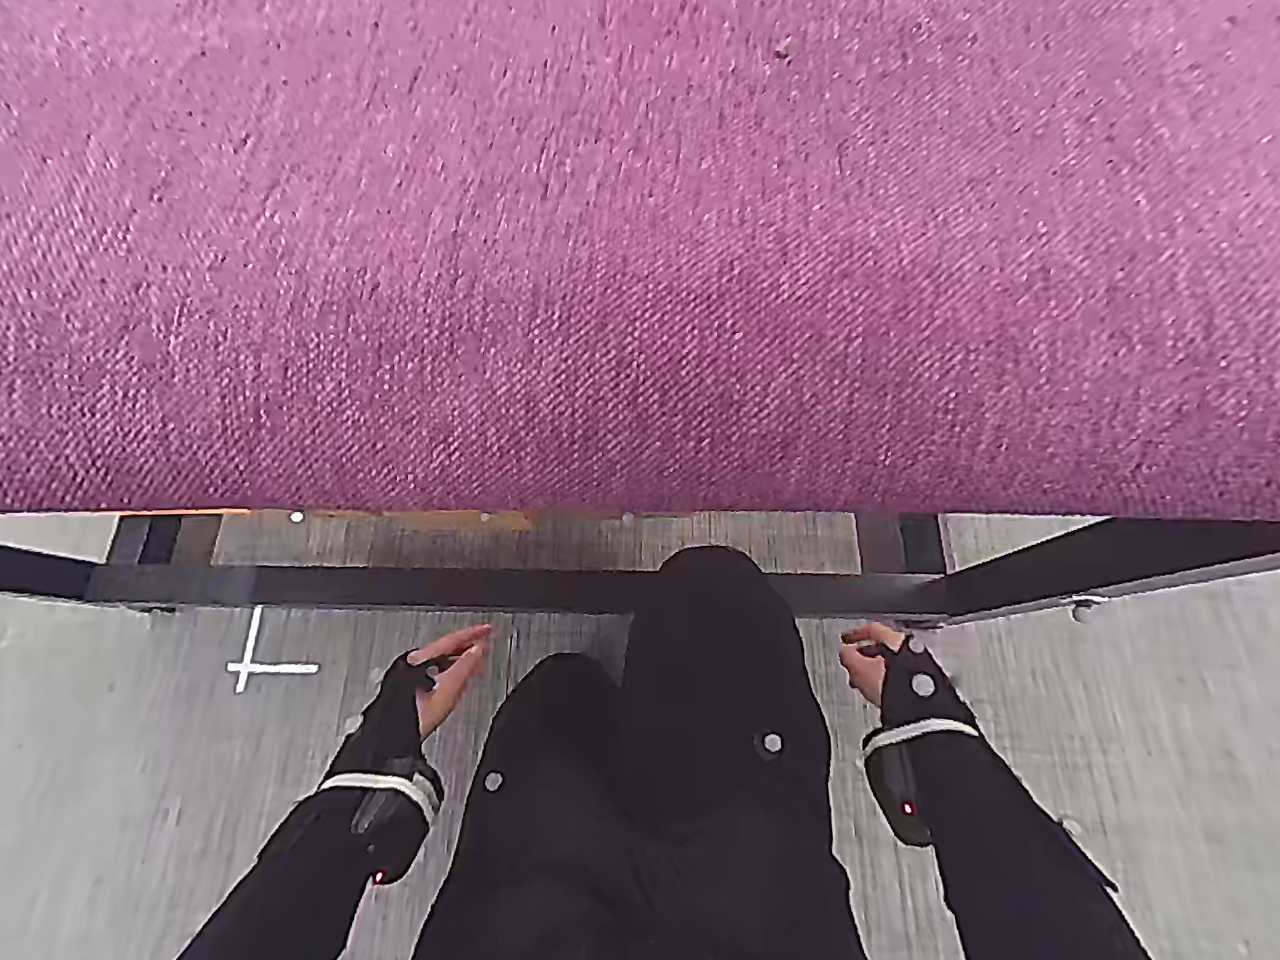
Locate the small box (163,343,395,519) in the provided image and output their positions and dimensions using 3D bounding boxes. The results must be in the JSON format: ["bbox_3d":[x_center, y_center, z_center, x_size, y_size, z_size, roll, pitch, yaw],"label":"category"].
[{"bbox_3d":[-0.436,-0.055,0.689,0.168,0.176,0.179,0,73,2],"label":"small box"}]

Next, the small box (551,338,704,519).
[{"bbox_3d":[-0.010,-0.055,0.673,0.168,0.176,0.179,-2,74,3],"label":"small box"}]
